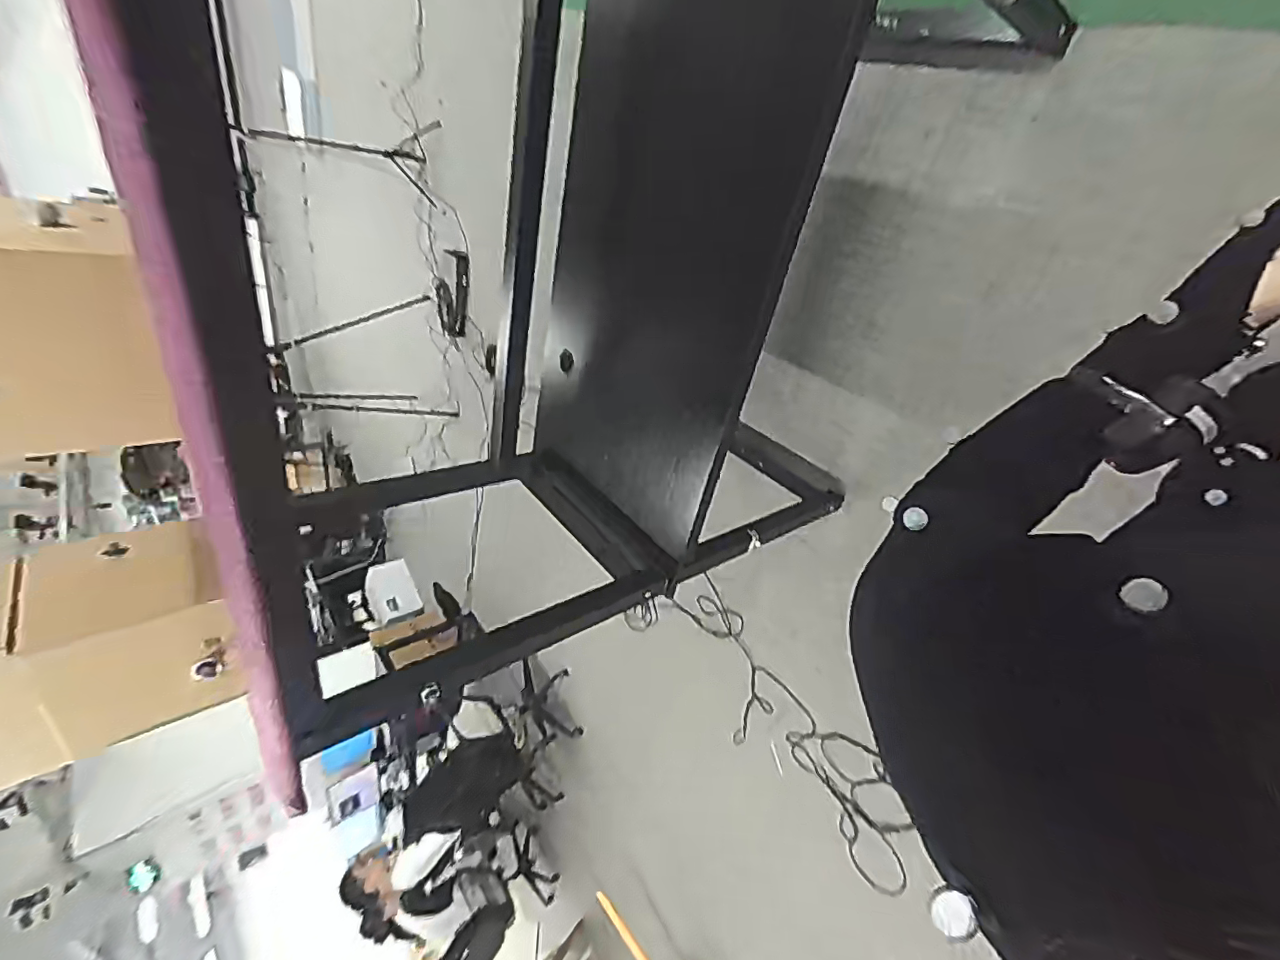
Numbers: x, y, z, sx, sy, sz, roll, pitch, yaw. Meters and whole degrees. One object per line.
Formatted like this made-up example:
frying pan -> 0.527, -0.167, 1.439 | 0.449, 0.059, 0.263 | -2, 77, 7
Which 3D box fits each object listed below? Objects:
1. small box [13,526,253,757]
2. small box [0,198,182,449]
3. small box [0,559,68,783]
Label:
small box -> -0.580, 0.171, 0.638 | 0.179, 0.176, 0.168 | 35, 128, 37
small box -> -0.534, -0.138, 0.479 | 0.168, 0.176, 0.179 | 41, 130, 37
small box -> -0.707, 0.209, 0.539 | 0.168, 0.176, 0.179 | 35, 127, 38
